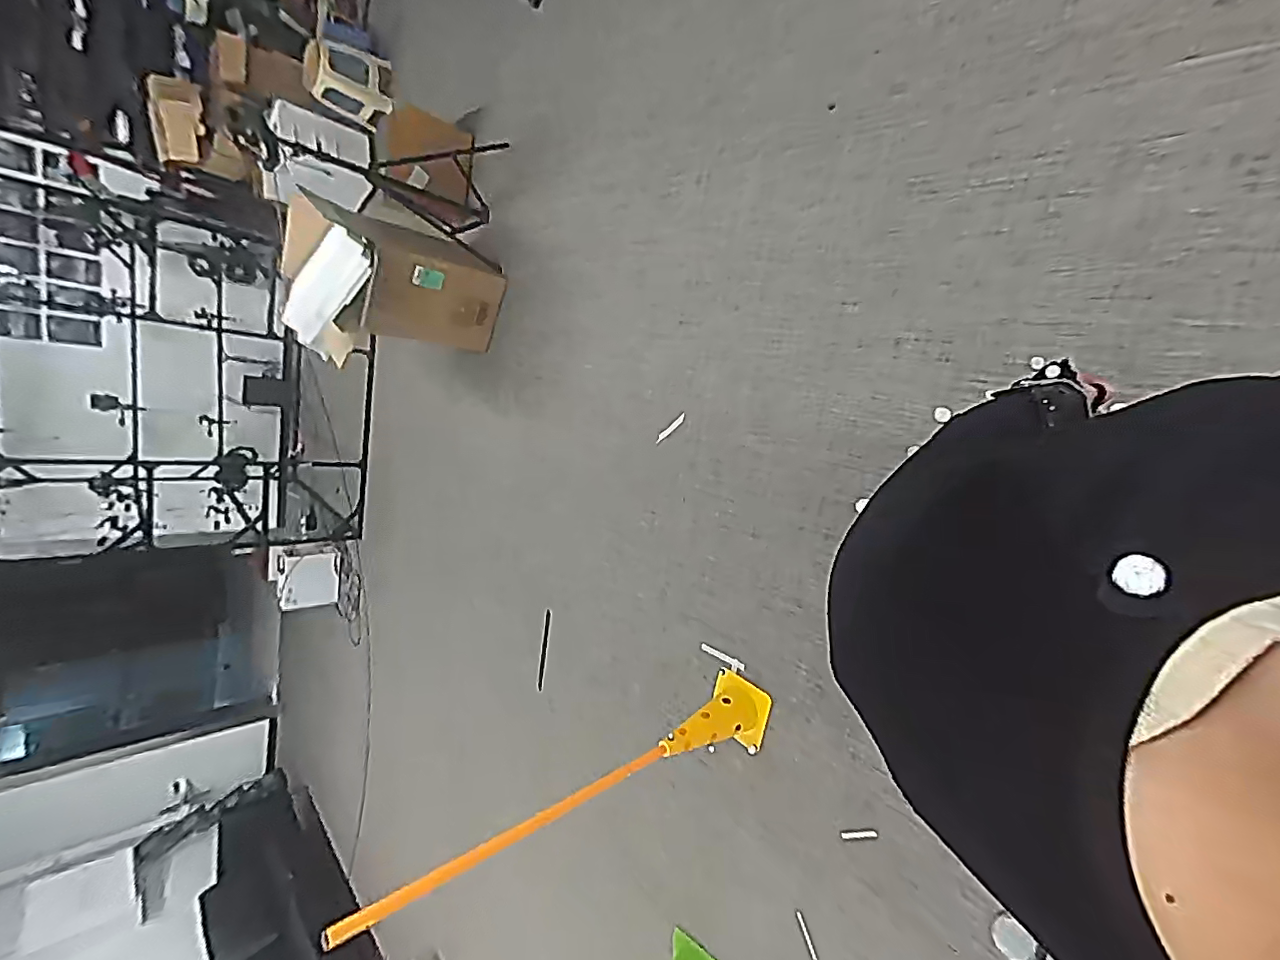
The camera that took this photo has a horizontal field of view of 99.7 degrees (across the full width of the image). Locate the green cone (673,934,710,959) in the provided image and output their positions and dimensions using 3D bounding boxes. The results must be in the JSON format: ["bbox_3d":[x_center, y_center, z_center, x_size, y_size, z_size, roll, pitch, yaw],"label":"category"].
[{"bbox_3d":[0.065,1.681,1.708,0.200,0.368,0.202,4,91,45],"label":"green cone"}]
